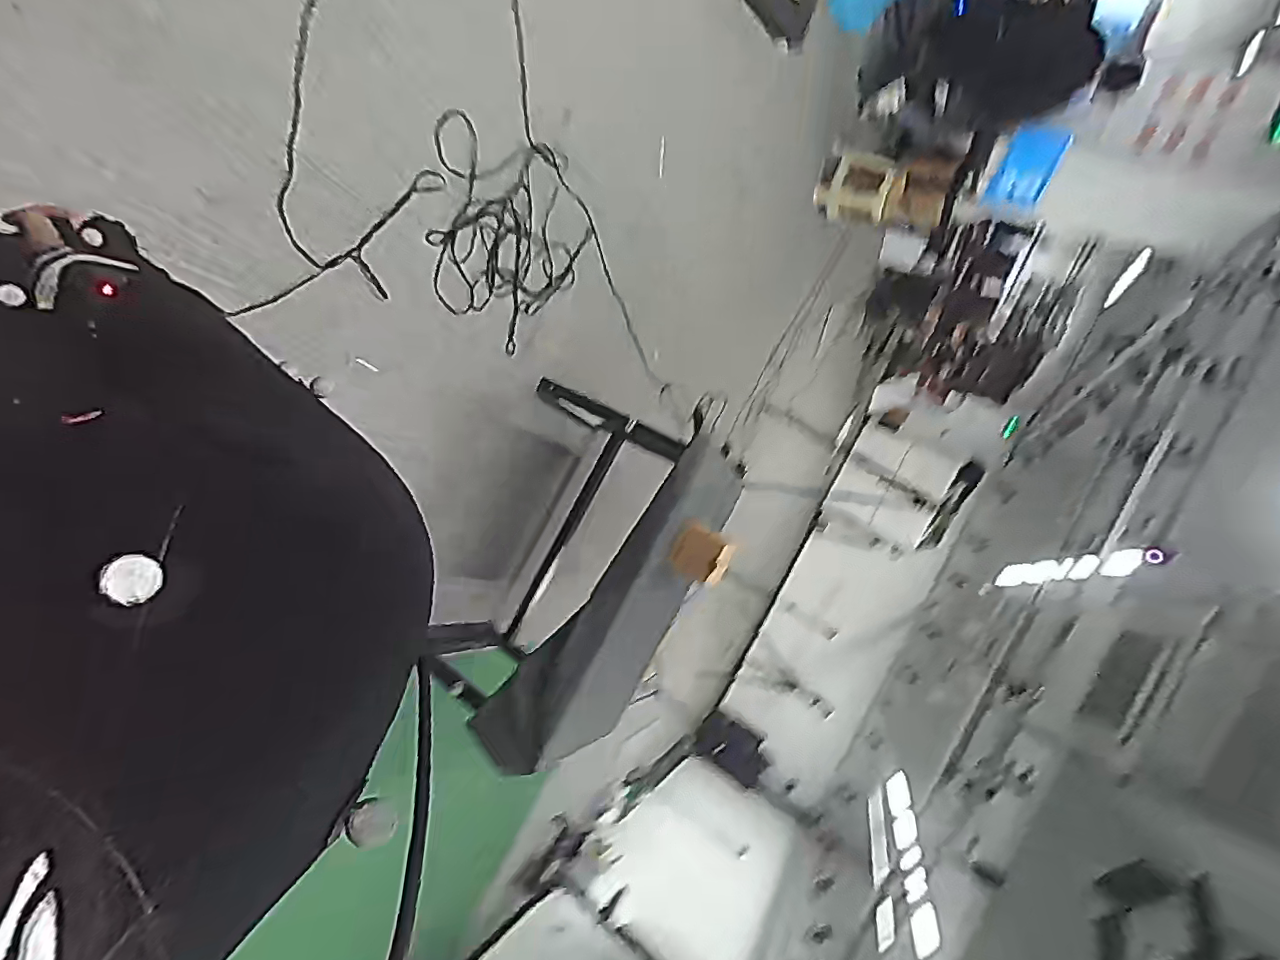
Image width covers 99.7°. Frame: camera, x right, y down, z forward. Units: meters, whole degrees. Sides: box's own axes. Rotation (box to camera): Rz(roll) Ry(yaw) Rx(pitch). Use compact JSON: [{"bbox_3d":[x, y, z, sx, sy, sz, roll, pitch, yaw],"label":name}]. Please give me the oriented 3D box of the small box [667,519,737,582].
[{"bbox_3d":[0.221,0.248,1.941,0.168,0.176,0.179,-64,158,7],"label":"small box"}]
